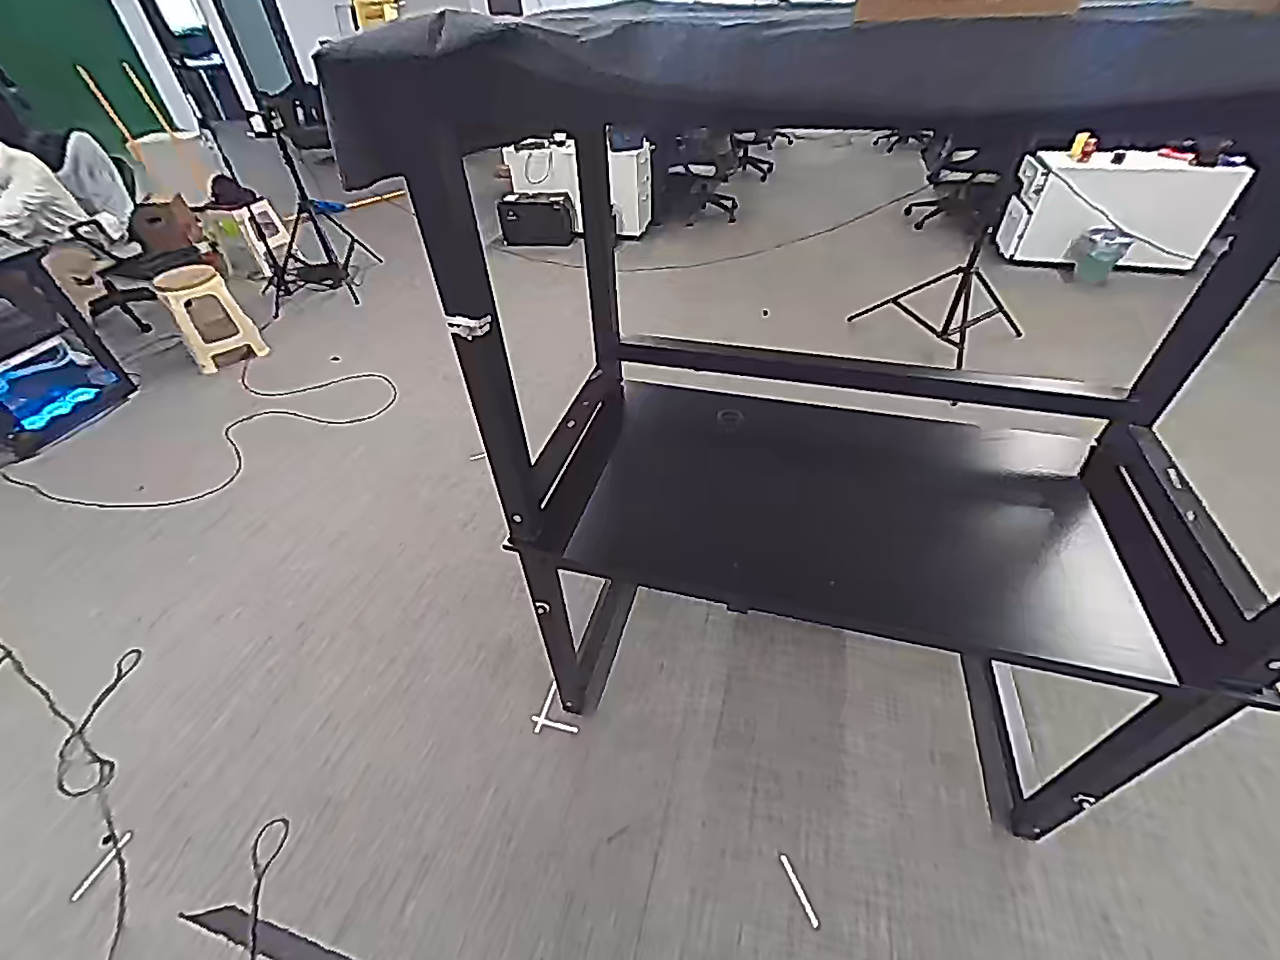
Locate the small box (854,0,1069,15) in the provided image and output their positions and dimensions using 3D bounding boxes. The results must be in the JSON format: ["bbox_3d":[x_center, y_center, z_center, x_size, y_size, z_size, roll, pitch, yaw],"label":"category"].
[{"bbox_3d":[0.277,-0.490,0.438,0.168,0.176,0.179,10,42,14],"label":"small box"}]

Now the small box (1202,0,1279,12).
[{"bbox_3d":[0.566,-0.443,0.375,0.168,0.176,0.179,13,43,16],"label":"small box"}]
